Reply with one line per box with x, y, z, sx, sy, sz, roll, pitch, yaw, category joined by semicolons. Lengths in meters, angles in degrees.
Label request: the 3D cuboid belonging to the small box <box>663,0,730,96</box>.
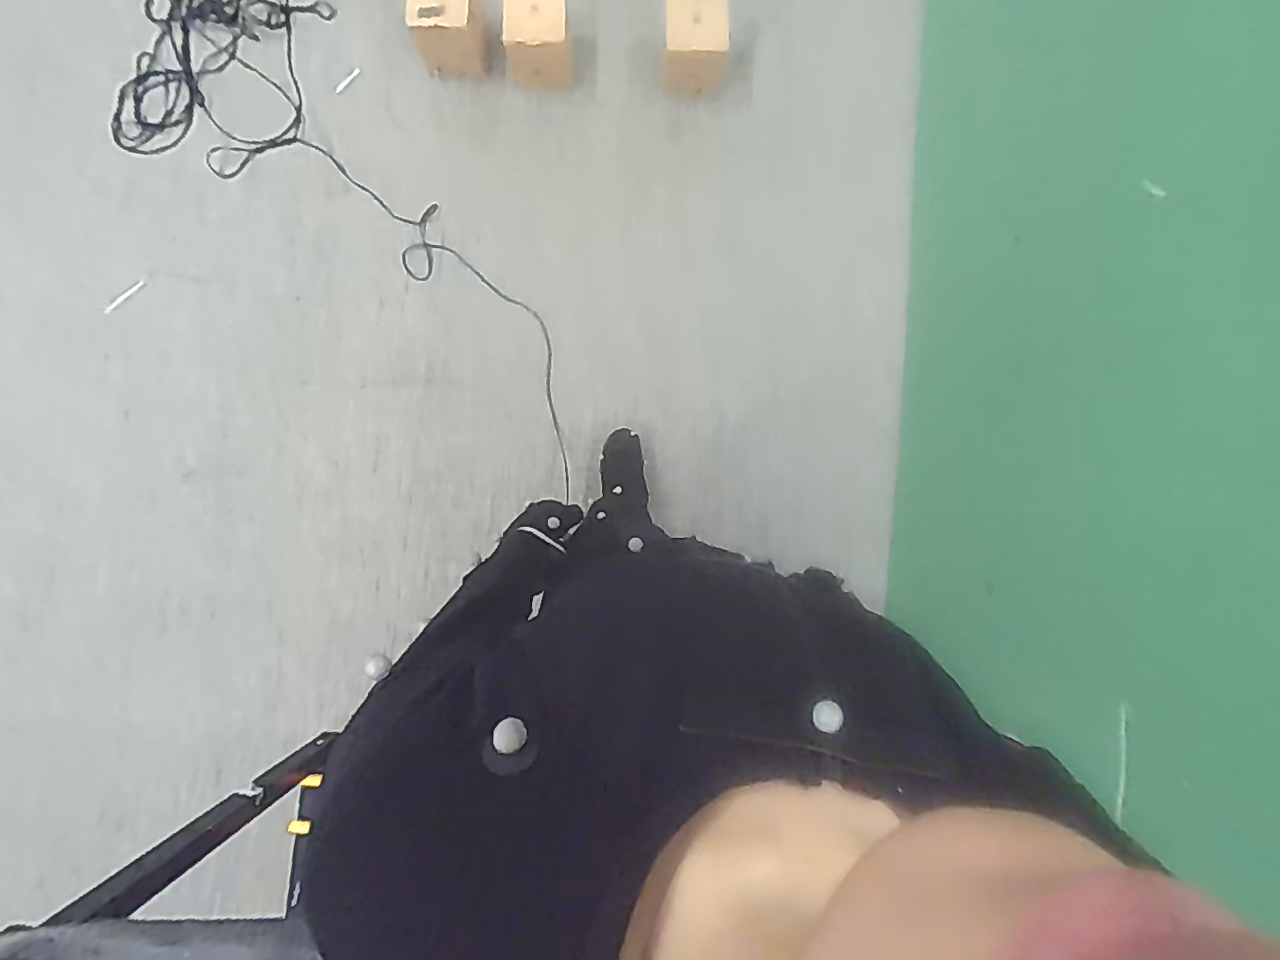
0.152;-1.200;1.489;0.168;0.176;0.179;0;87;-1;small box

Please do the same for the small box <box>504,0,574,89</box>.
-0.274;-1.225;1.490;0.168;0.176;0.179;-1;87;0;small box

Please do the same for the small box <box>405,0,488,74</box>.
-0.527;-1.264;1.490;0.168;0.176;0.179;2;86;0;small box
